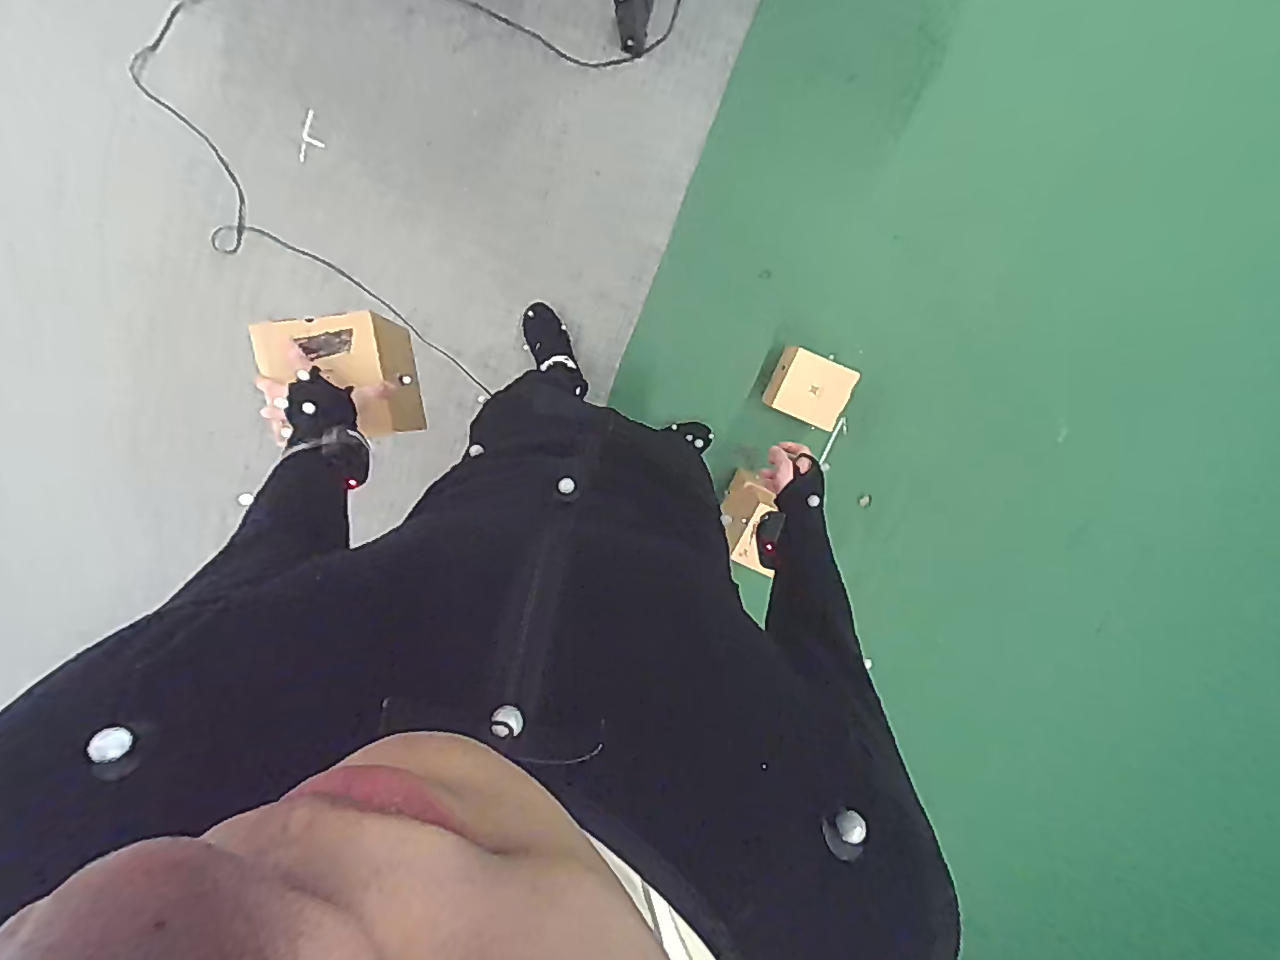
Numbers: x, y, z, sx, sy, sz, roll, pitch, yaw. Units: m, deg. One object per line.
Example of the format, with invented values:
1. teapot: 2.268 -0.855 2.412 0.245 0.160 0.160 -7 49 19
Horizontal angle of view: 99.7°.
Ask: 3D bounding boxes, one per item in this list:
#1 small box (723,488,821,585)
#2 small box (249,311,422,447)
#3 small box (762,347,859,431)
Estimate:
1. small box: 0.333 0.138 1.404 0.179 0.176 0.168 25 105 -4
2. small box: -0.458 -0.150 0.841 0.168 0.176 0.179 -8 98 -4
3. small box: 0.450 -0.250 1.464 0.179 0.176 0.168 22 104 -4
